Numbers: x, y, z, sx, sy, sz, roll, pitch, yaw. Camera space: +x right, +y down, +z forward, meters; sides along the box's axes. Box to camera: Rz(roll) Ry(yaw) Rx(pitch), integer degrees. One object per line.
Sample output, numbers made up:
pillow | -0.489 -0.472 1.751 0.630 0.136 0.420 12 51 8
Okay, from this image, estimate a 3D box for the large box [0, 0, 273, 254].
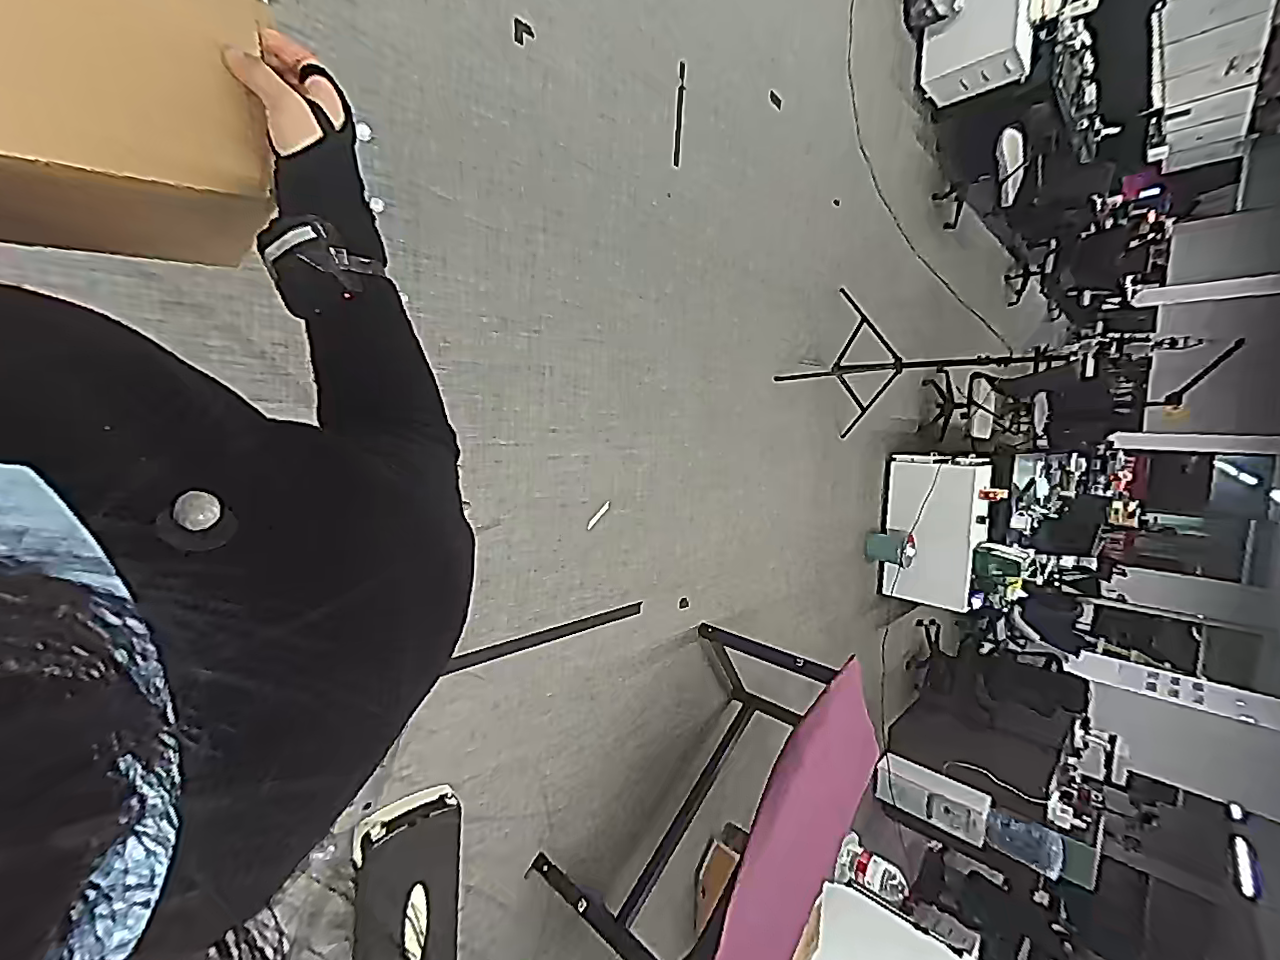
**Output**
large box | -0.550 -0.376 0.402 0.408 0.320 0.320 -9 102 -40
